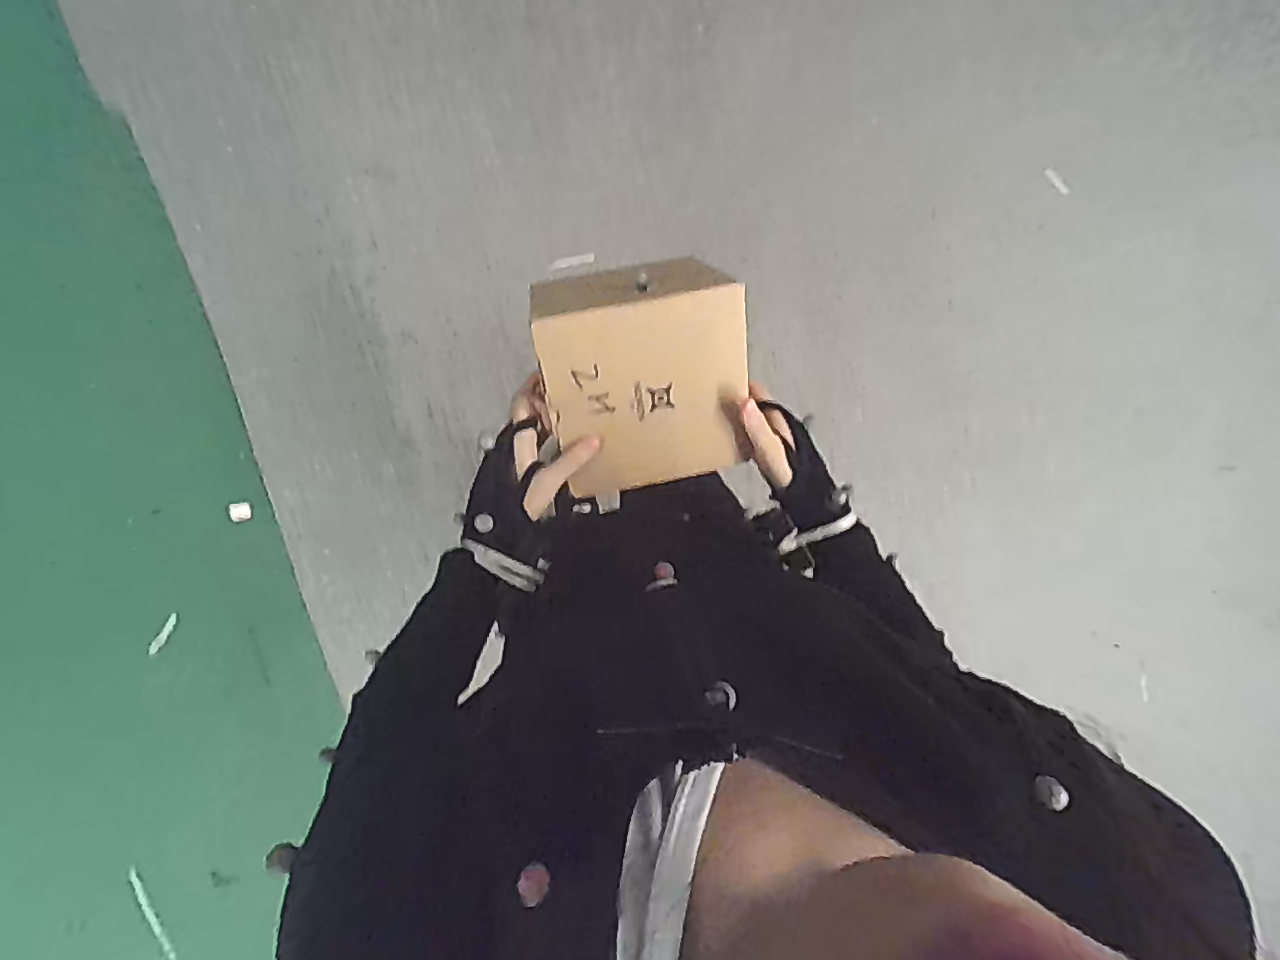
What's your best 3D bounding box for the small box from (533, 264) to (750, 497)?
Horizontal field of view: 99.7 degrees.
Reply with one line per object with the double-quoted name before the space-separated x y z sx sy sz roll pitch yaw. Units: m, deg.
"small box" -0.003 -0.109 0.539 0.179 0.176 0.168 -12 120 -5
